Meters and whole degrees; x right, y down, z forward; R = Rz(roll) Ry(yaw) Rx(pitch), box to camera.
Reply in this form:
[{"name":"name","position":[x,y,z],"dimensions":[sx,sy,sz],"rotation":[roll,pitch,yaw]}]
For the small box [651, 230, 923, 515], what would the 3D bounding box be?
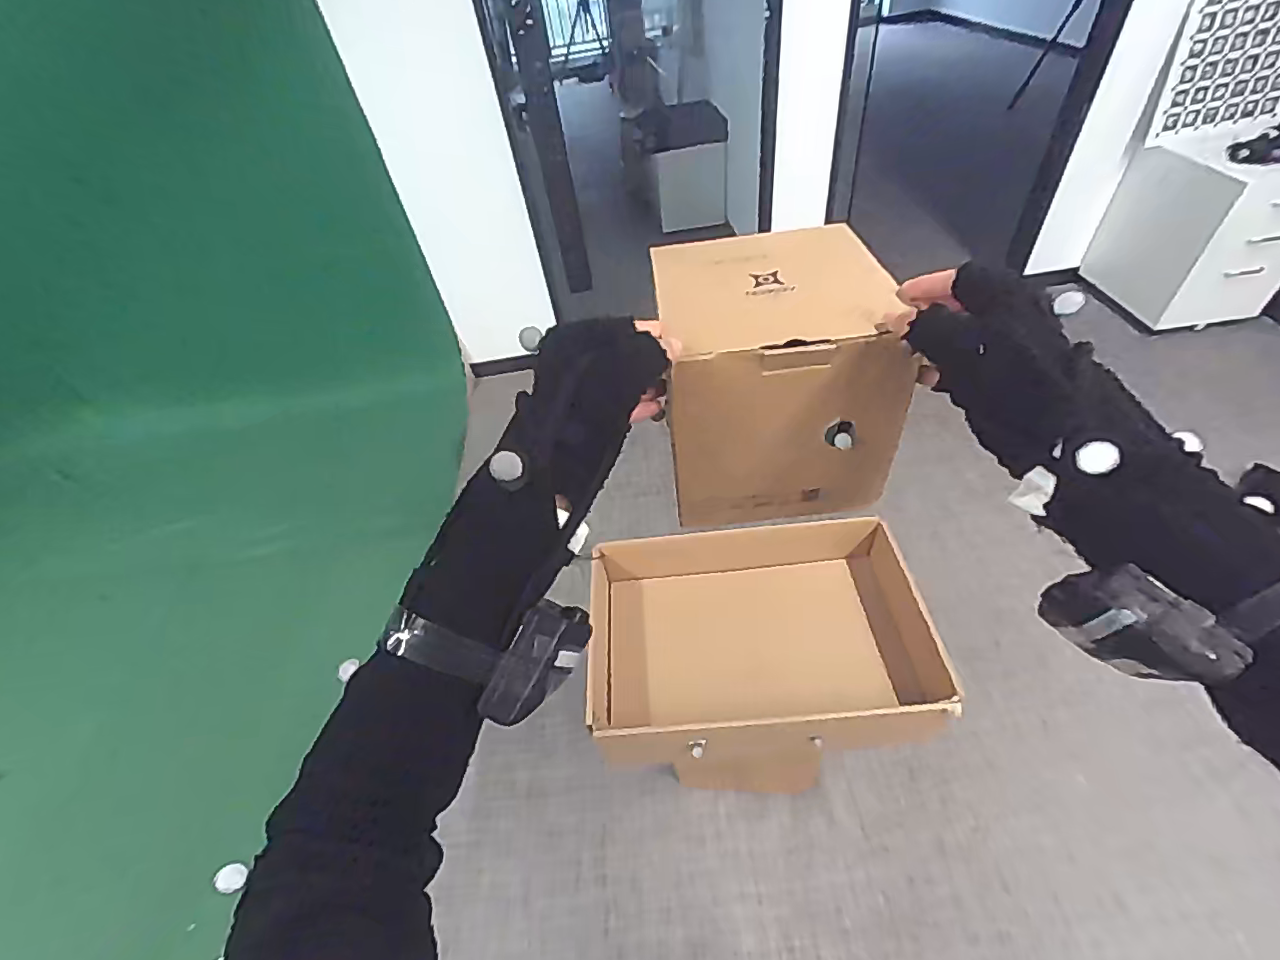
[{"name":"small box","position":[0.103,-0.084,0.454],"dimensions":[0.168,0.176,0.179],"rotation":[-6,44,2]}]
